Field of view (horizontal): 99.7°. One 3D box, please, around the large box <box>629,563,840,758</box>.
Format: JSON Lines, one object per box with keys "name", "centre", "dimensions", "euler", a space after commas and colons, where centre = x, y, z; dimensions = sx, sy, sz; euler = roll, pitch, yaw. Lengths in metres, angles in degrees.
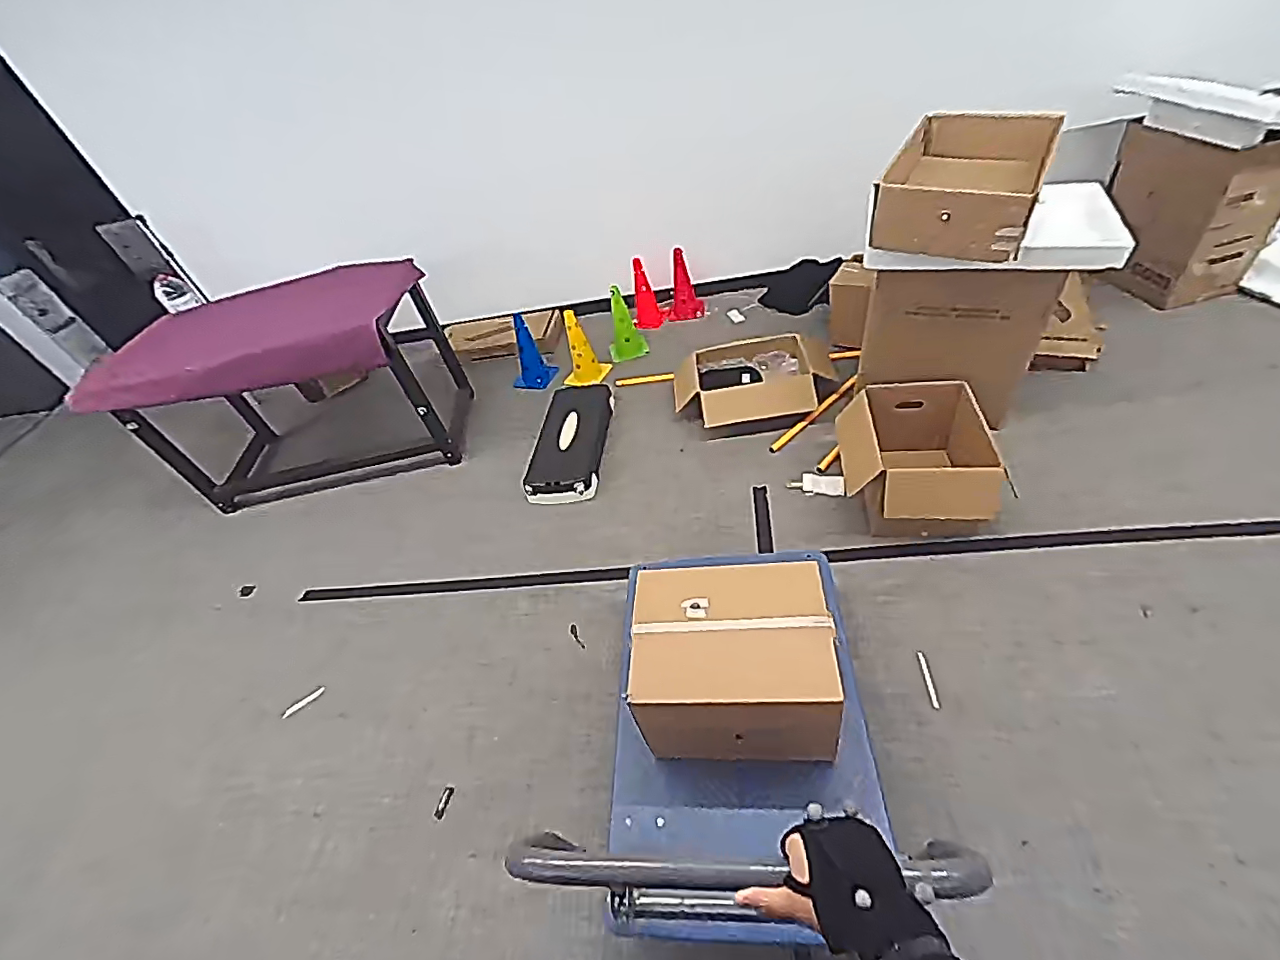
{"name": "large box", "centre": [0.212, 0.418, 1.230], "dimensions": [0.408, 0.320, 0.320], "euler": [-7, 43, 11]}
